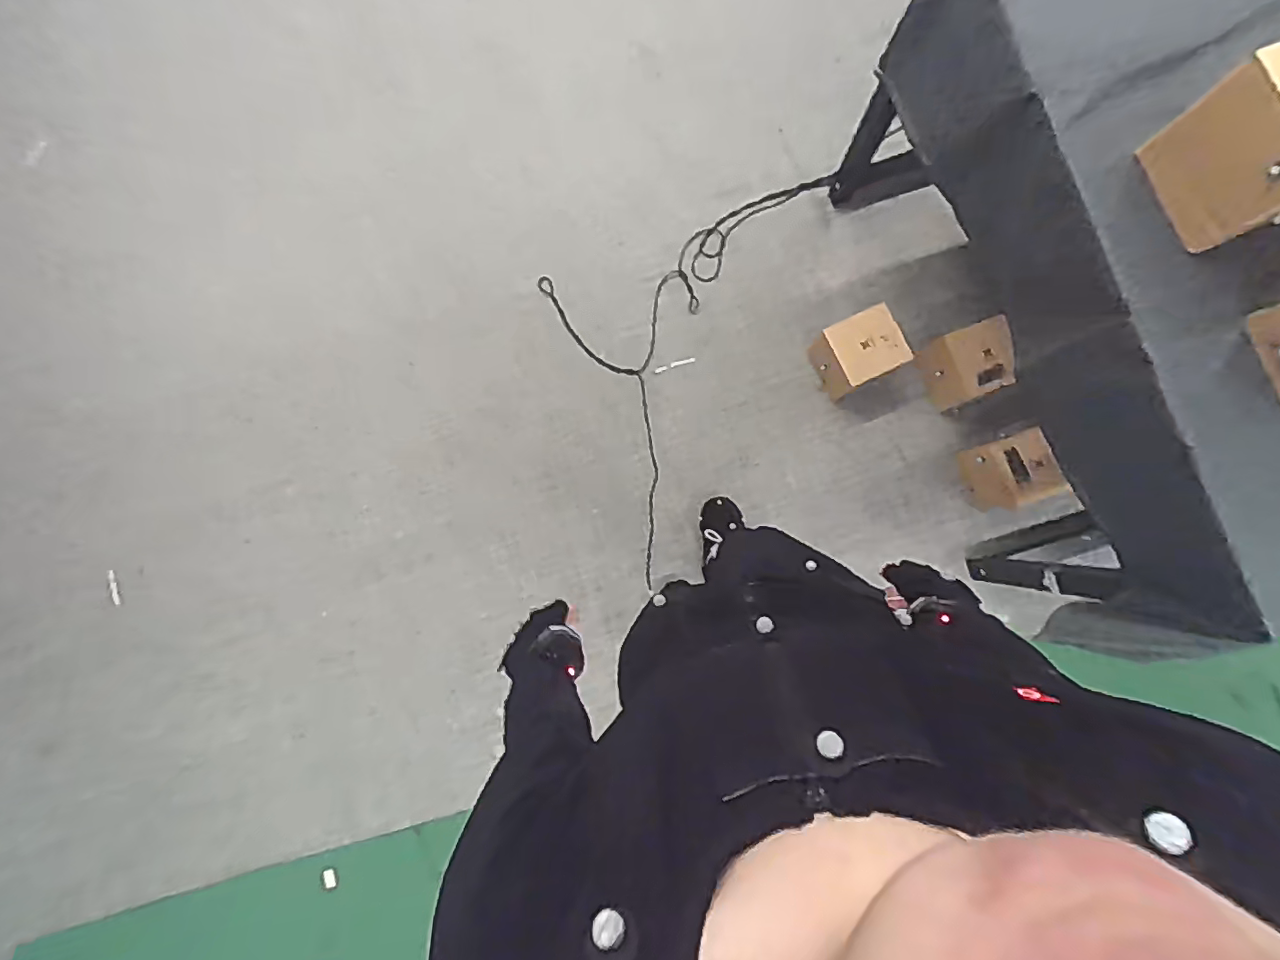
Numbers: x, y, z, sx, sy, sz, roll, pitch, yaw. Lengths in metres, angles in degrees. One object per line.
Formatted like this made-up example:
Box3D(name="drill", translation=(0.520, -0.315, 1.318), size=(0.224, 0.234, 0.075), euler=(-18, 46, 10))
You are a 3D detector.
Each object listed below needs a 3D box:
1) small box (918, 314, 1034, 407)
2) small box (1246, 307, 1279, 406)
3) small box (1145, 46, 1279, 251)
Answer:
Box3D(name="small box", translation=(0.868, -0.301, 1.413), size=(0.168, 0.176, 0.179), euler=(-19, 84, 1))
Box3D(name="small box", translation=(0.949, -0.183, 0.672), size=(0.179, 0.176, 0.168), euler=(-20, 84, 1))
Box3D(name="small box", translation=(0.826, -0.437, 0.699), size=(0.168, 0.176, 0.179), euler=(-22, 85, 1))
